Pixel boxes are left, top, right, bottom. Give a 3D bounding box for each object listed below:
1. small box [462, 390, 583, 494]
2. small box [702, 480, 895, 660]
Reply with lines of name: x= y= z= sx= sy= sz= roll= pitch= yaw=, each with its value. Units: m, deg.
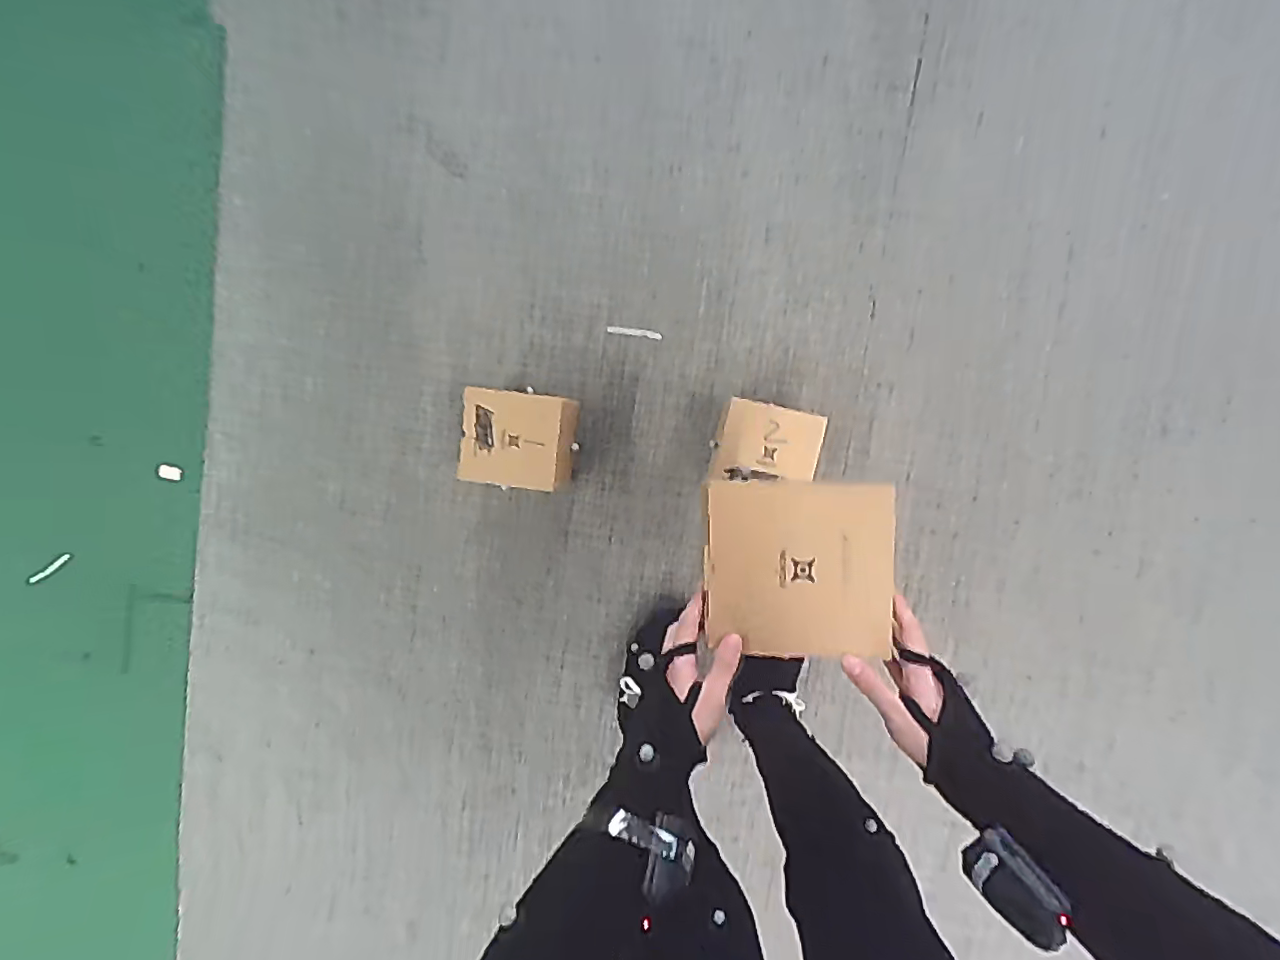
small box: x=-0.216 y=-0.072 z=1.029 sx=0.179 sy=0.176 sz=0.168 roll=7 pitch=95 yaw=2
small box: x=0.158 y=0.085 z=0.590 sx=0.179 sy=0.176 sz=0.168 roll=0 pitch=90 yaw=4
